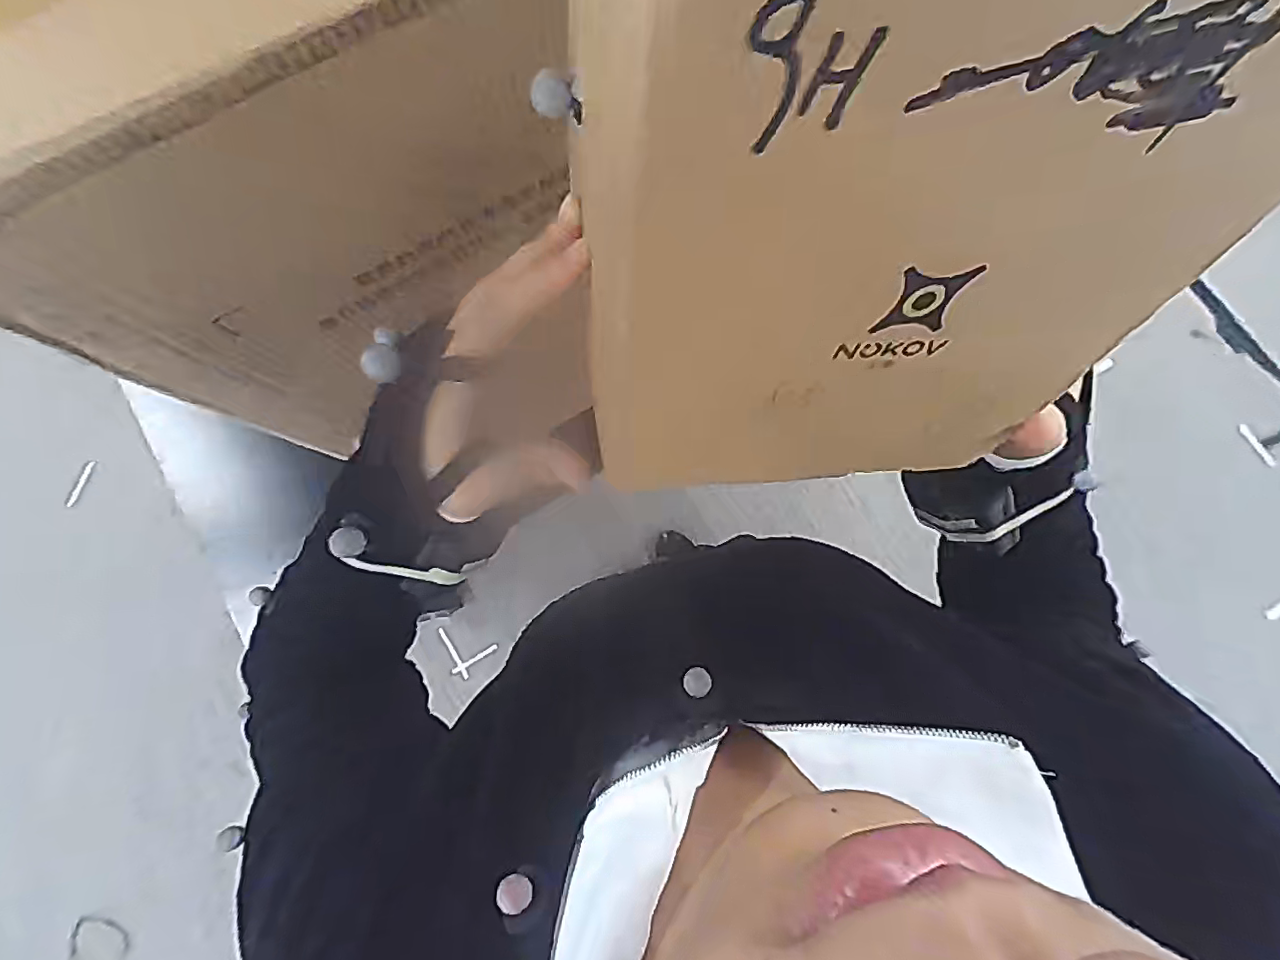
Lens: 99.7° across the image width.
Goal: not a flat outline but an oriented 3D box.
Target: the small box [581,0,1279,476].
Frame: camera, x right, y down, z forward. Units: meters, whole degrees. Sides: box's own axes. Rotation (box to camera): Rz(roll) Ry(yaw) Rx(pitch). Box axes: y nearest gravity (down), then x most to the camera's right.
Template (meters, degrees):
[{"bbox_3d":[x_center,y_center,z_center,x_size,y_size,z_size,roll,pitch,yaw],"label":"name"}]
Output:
[{"bbox_3d":[0.068,-0.119,0.202,0.168,0.179,0.176,-4,60,-9],"label":"small box"}]
